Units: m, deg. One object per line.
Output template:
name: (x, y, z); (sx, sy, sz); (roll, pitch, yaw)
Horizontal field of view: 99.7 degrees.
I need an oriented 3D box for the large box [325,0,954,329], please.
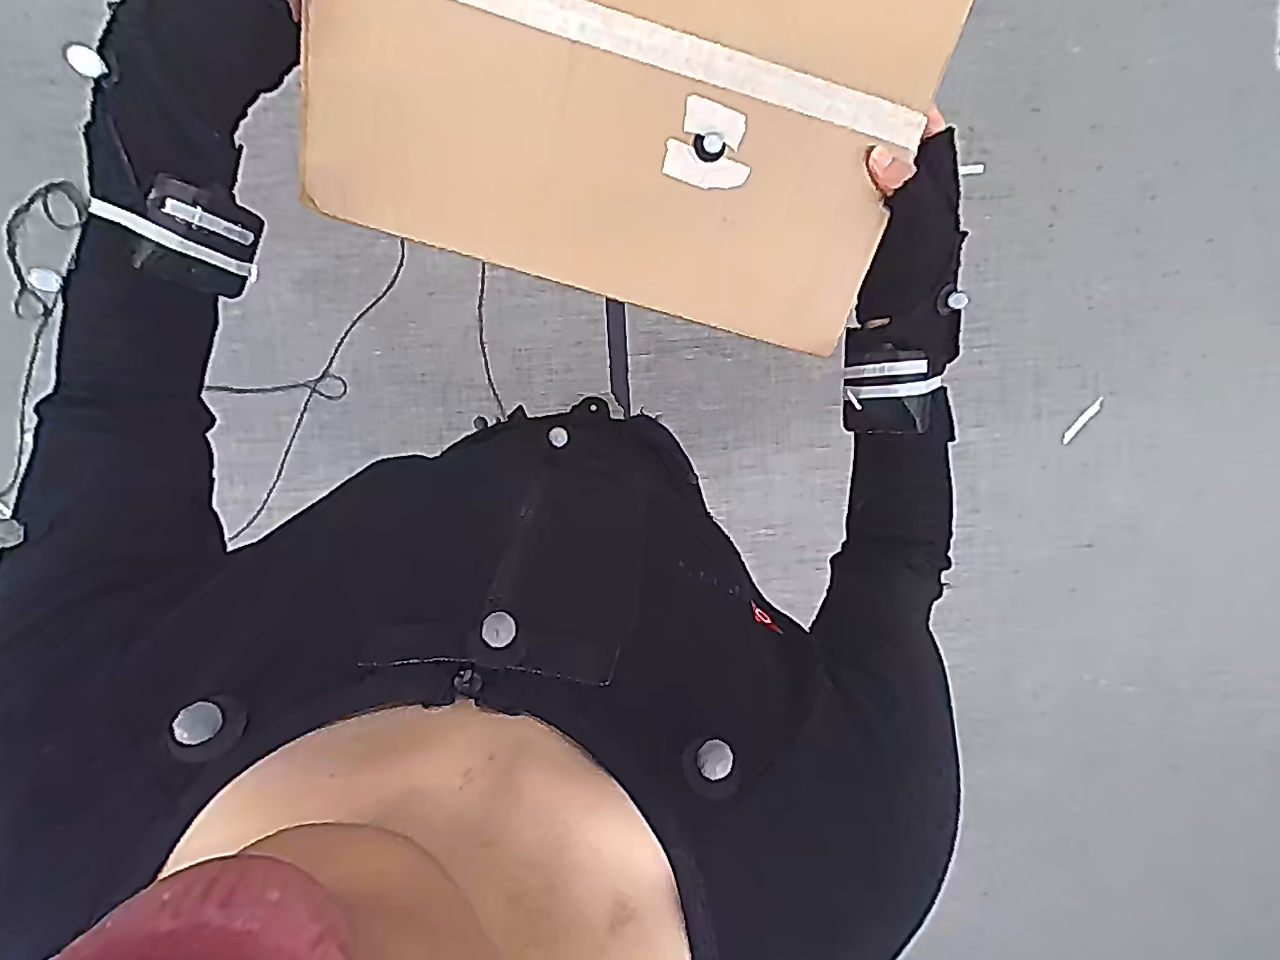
large box: (-0.005, -0.354, 0.497); (0.408, 0.320, 0.320); (13, 112, -6)
